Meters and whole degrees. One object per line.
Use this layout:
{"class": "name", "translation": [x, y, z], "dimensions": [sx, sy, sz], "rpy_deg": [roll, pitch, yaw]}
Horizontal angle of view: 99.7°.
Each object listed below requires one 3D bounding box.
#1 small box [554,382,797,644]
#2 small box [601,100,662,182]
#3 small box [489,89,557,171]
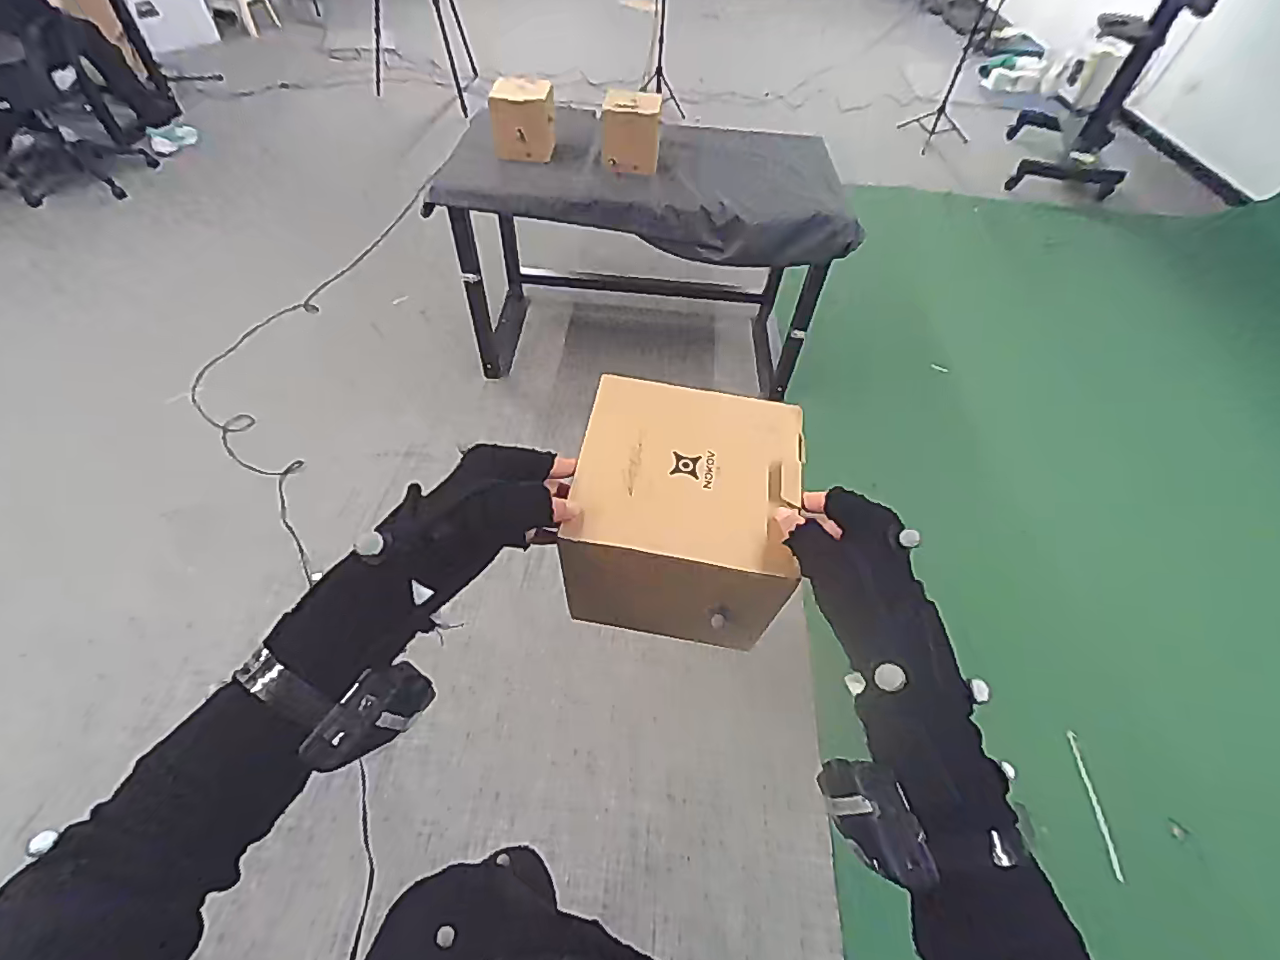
{"class": "small box", "translation": [0.033, 0.038, 0.493], "dimensions": [0.179, 0.176, 0.168], "rpy_deg": [8, 55, 4]}
{"class": "small box", "translation": [-0.025, -1.036, 1.655], "dimensions": [0.168, 0.176, 0.179], "rpy_deg": [6, 50, 1]}
{"class": "small box", "translation": [-0.353, -1.079, 1.672], "dimensions": [0.168, 0.176, 0.179], "rpy_deg": [3, 52, -1]}
